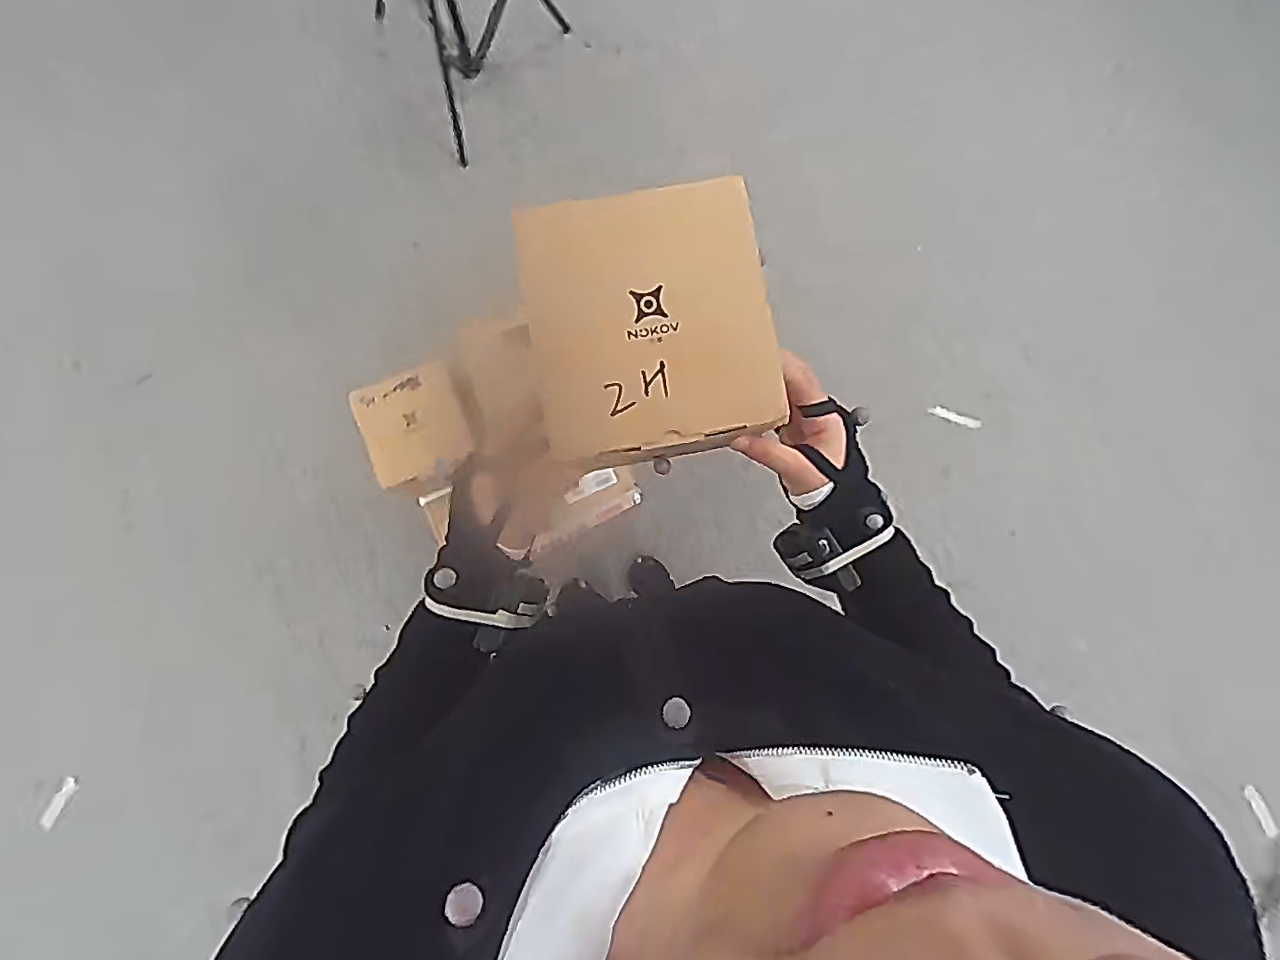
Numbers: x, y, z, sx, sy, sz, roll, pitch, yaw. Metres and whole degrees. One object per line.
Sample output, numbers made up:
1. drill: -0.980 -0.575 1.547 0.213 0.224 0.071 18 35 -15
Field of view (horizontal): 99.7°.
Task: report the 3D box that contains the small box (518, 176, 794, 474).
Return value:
1. small box: 0.007 -0.107 0.442 0.168 0.176 0.179 -10 88 -2
